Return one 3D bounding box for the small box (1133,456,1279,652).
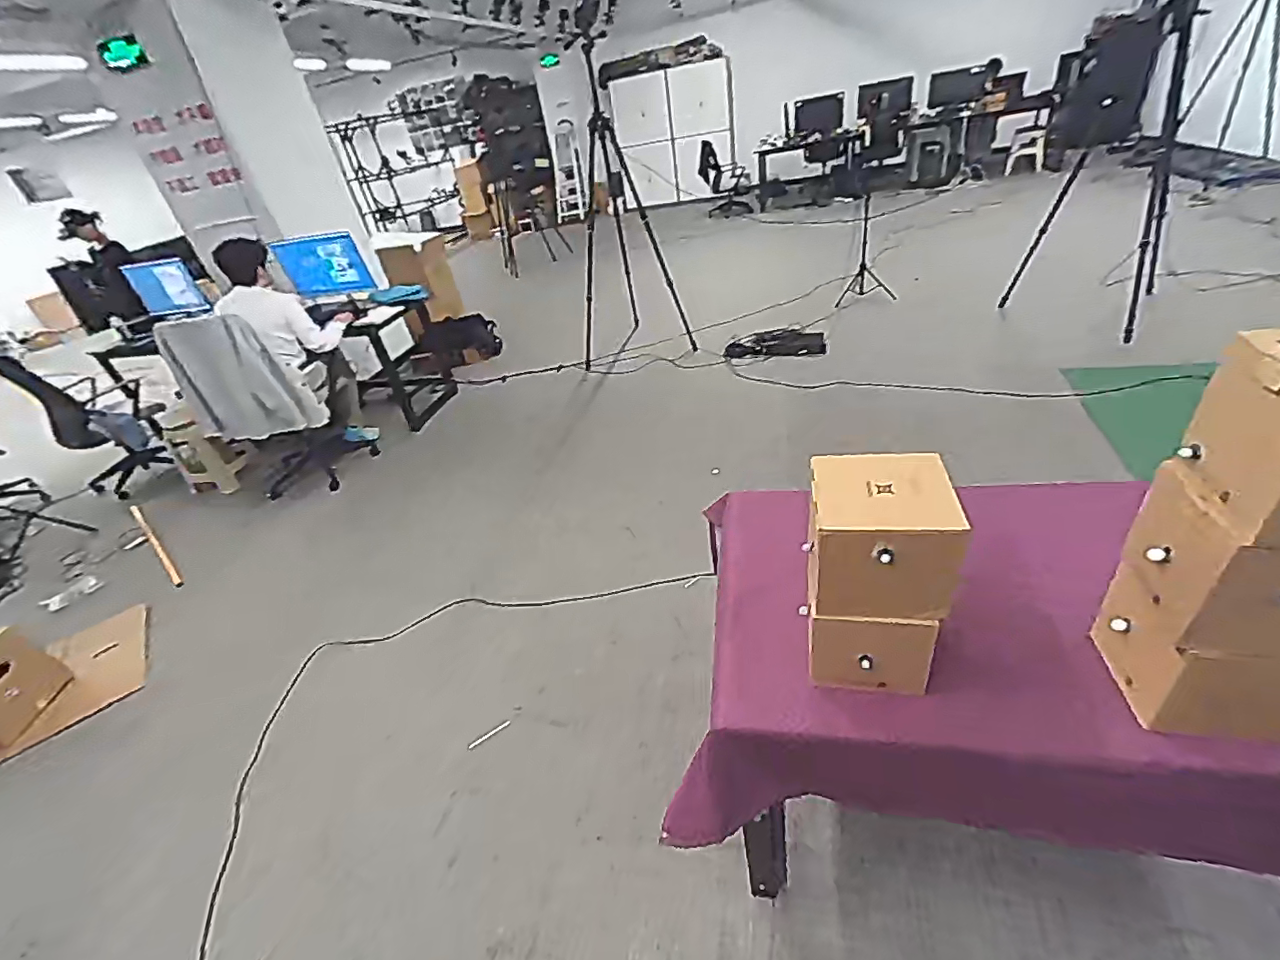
[{"bbox_3d":[0.727,0.086,0.632,0.179,0.176,0.168,1,37,18],"label":"small box"}]

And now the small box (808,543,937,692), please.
[{"bbox_3d":[0.355,0.210,0.856,0.168,0.176,0.179,0,36,16],"label":"small box"}]

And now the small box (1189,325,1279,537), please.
[{"bbox_3d":[0.707,-0.047,0.536,0.179,0.176,0.168,2,36,18],"label":"small box"}]

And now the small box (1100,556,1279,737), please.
[{"bbox_3d":[0.761,0.218,0.723,0.179,0.176,0.168,-1,36,15],"label":"small box"}]

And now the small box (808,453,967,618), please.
[{"bbox_3d":[0.333,0.078,0.763,0.179,0.176,0.168,-1,37,15],"label":"small box"}]
